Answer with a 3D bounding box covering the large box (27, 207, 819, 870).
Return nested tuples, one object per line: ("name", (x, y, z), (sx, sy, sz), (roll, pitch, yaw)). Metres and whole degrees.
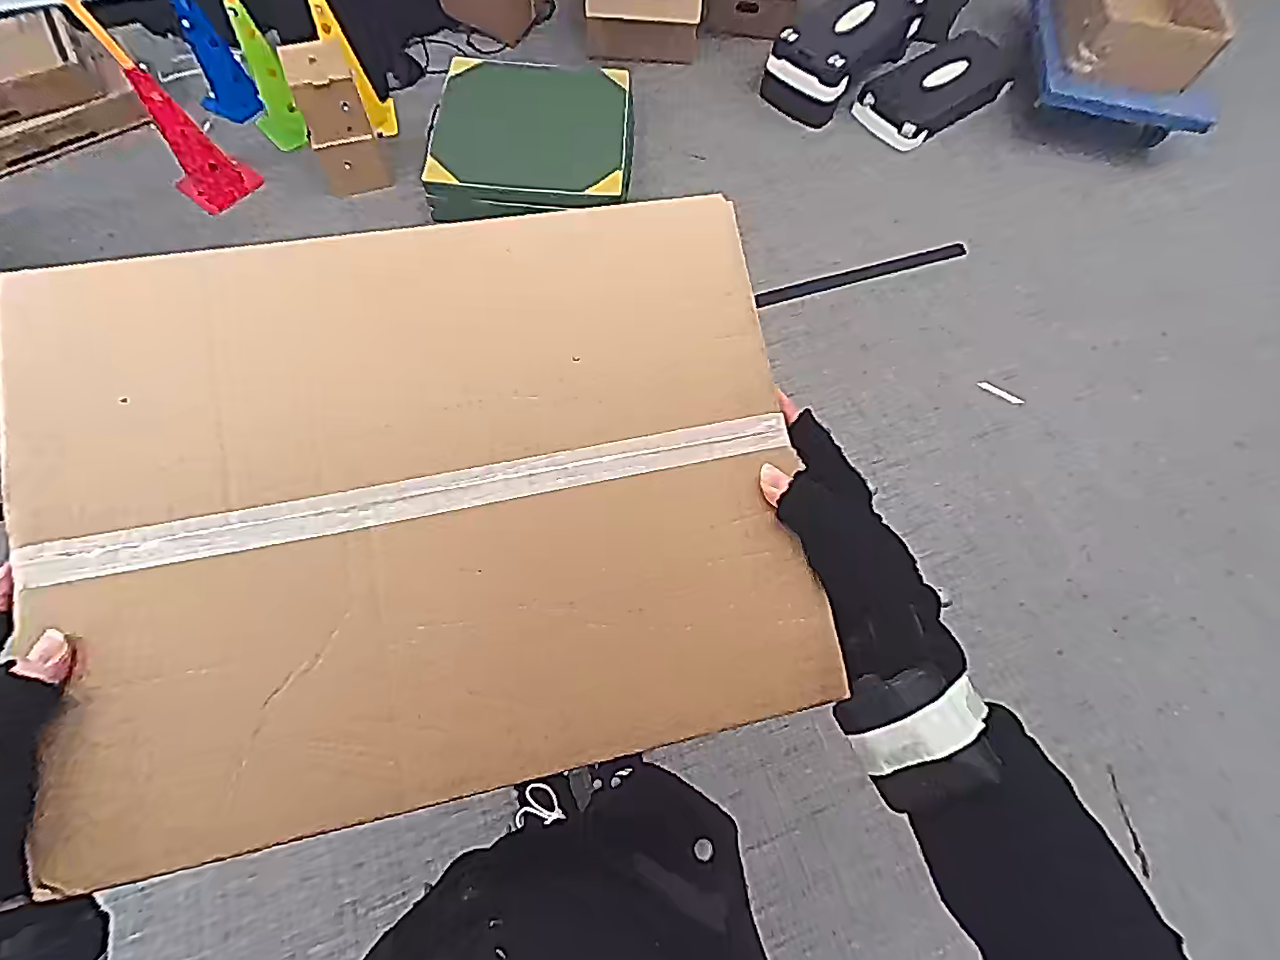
("large box", (-0.131, 0.026, 0.454), (0.408, 0.320, 0.320), (-10, 82, -8))
